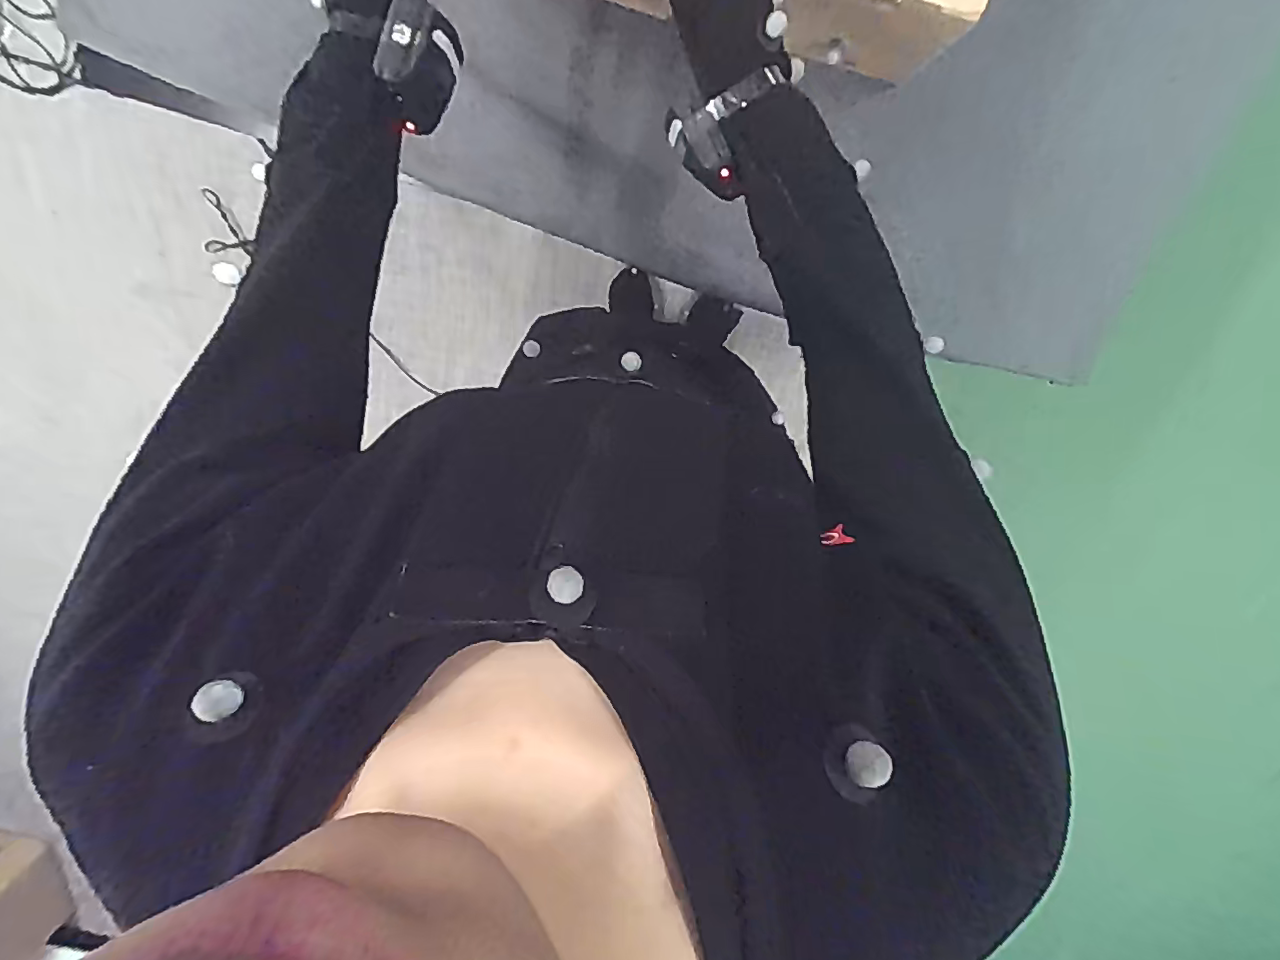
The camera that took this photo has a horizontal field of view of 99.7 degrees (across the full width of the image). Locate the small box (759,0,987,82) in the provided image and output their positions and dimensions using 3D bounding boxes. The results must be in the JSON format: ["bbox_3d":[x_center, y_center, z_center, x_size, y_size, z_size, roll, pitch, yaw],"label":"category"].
[{"bbox_3d":[0.205,-0.470,0.442,0.168,0.176,0.179,16,113,0],"label":"small box"}]
